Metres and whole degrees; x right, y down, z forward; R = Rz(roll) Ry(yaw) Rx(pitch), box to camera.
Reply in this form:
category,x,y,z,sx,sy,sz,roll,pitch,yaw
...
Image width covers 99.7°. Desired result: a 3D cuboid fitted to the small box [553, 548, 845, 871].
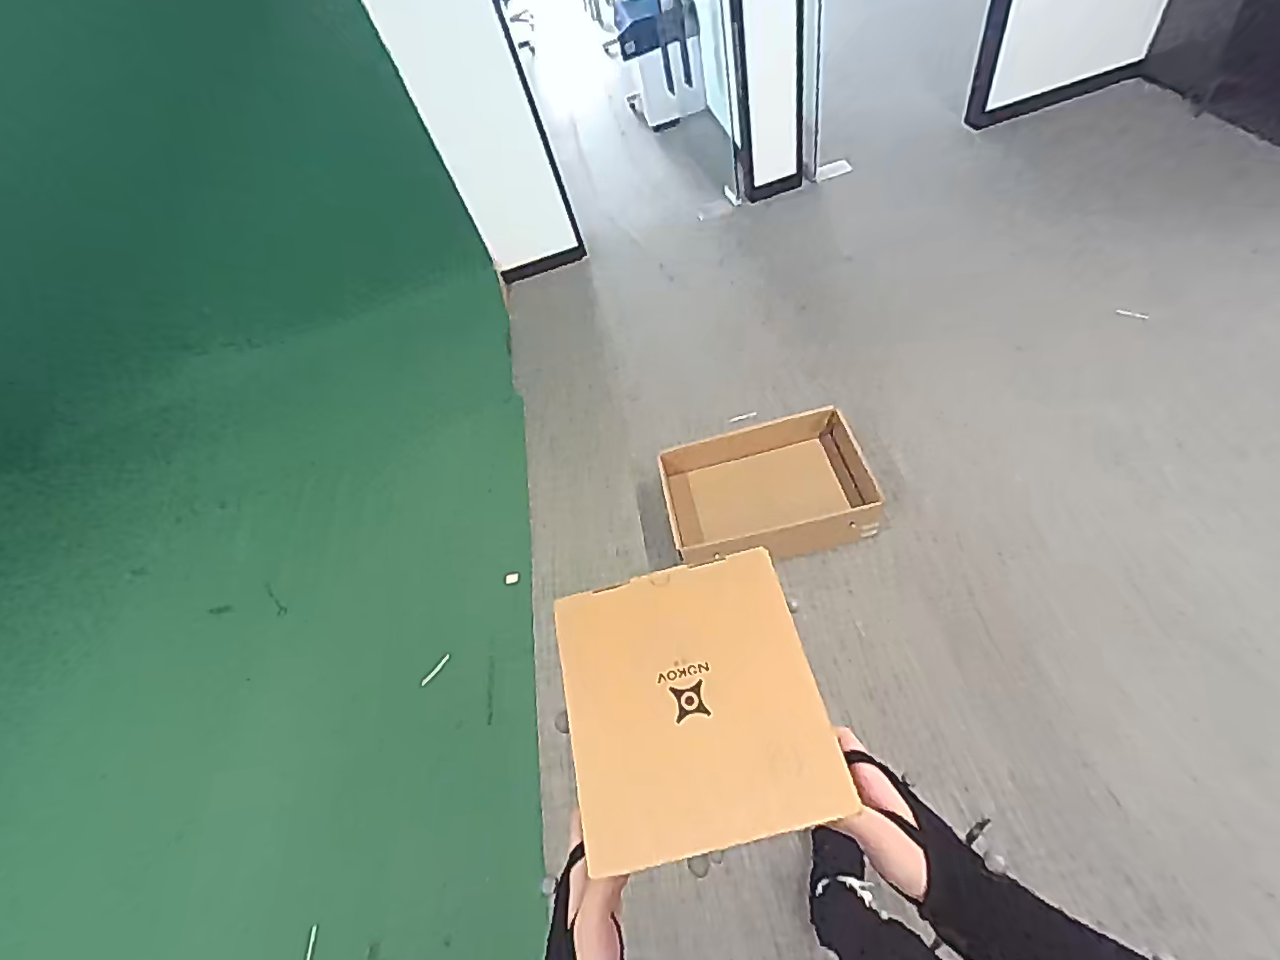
category,x,y,z,sx,sy,sz,roll,pitch,yaw
small box,0.041,0.182,0.428,0.168,0.176,0.179,-14,56,1
